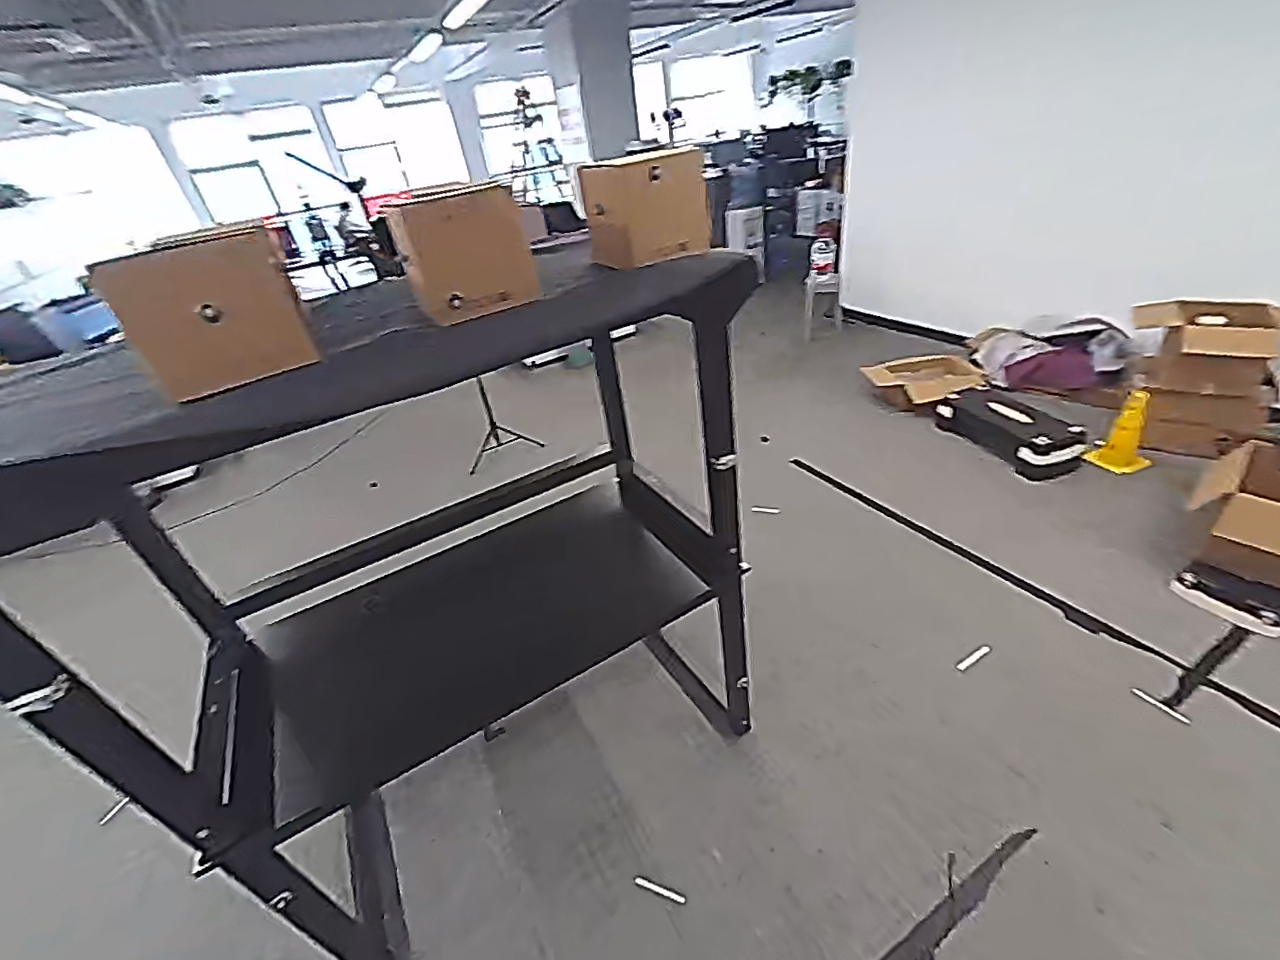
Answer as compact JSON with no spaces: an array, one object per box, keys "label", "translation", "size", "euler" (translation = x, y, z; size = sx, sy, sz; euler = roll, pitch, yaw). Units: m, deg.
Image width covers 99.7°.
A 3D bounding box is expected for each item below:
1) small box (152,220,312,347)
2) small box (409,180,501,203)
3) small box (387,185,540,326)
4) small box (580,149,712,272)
[{"label":"small box","translation":[-0.706,-0.349,0.958],"size":[0.168,0.176,0.179],"euler":[-24,36,-22]},{"label":"small box","translation":[-0.358,-0.507,1.114],"size":[0.168,0.176,0.179],"euler":[-20,34,-17]},{"label":"small box","translation":[-0.275,-0.353,0.853],"size":[0.168,0.176,0.179],"euler":[-24,33,-20]},{"label":"small box","translation":[0.012,-0.485,0.980],"size":[0.168,0.176,0.179],"euler":[-25,35,-20]}]
